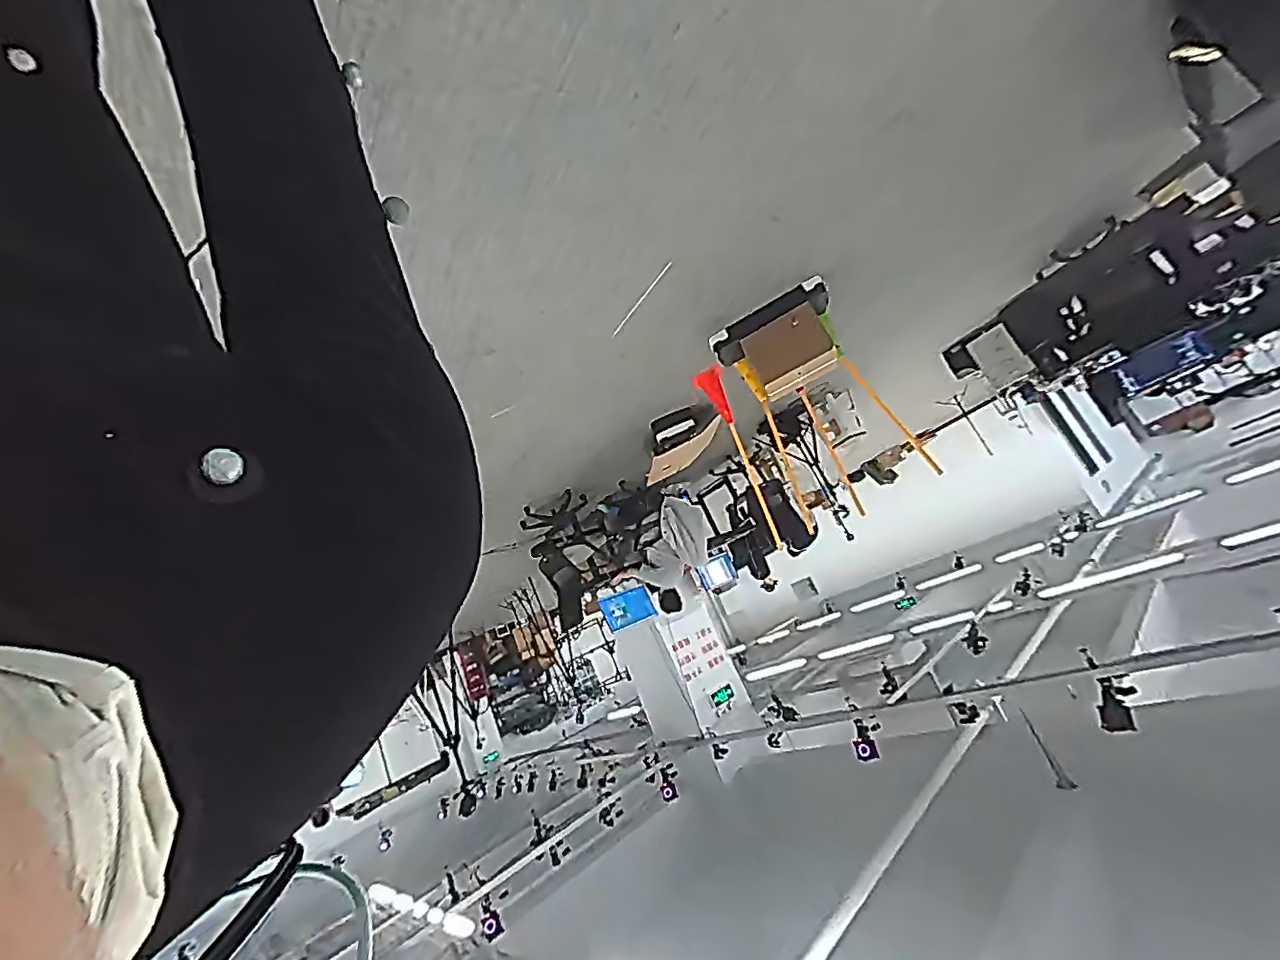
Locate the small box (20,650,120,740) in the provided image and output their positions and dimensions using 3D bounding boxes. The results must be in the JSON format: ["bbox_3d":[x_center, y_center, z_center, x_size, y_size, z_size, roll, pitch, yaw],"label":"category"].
[{"bbox_3d":[-1.549,0.581,1.475,0.168,0.176,0.179,-12,161,-44],"label":"small box"}]
